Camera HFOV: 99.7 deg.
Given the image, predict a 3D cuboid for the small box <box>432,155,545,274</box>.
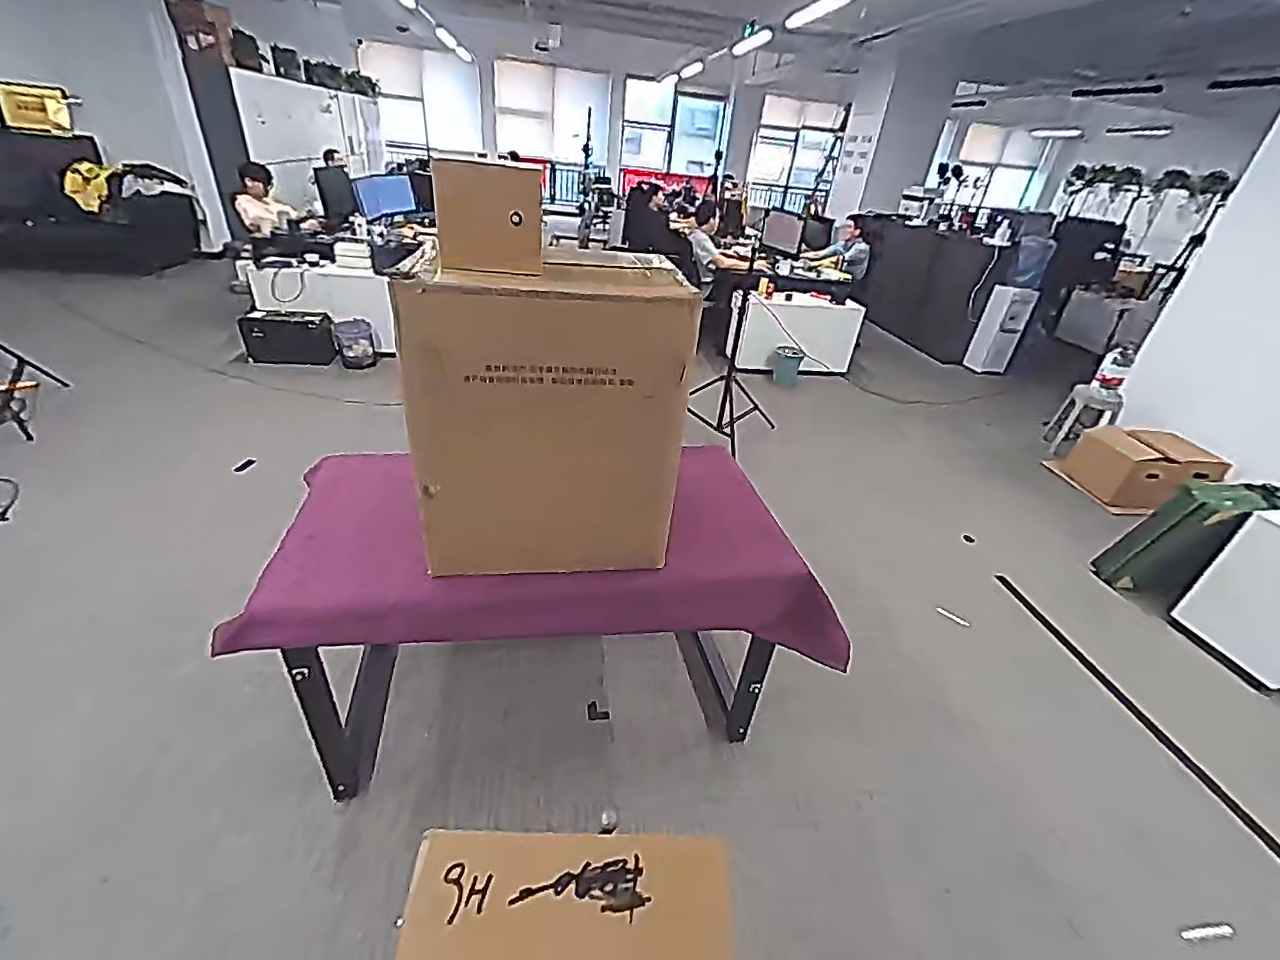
[{"bbox_3d":[-0.262,-0.473,0.968,0.179,0.176,0.168,-1,32,-11],"label":"small box"}]
